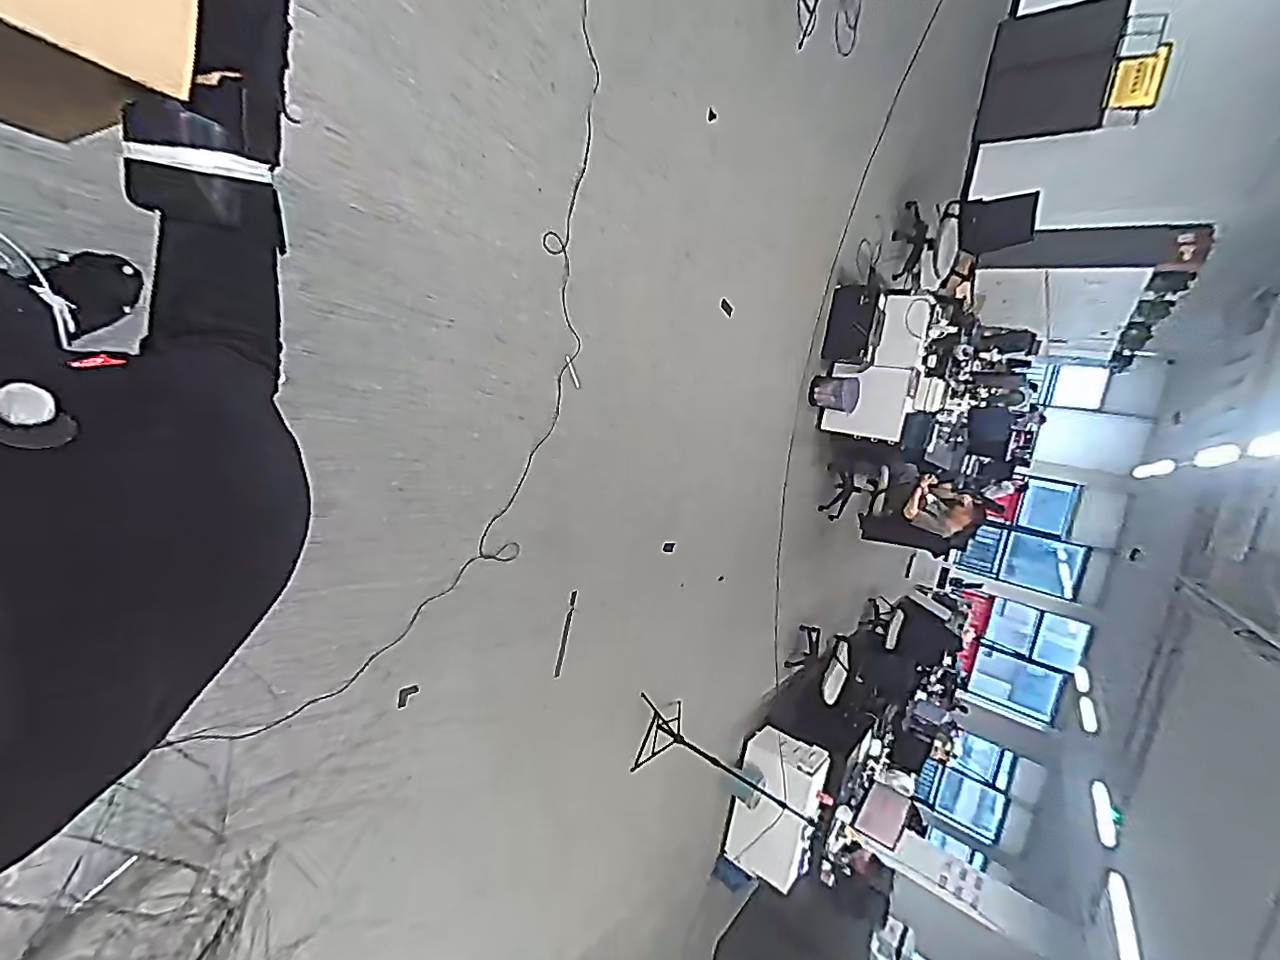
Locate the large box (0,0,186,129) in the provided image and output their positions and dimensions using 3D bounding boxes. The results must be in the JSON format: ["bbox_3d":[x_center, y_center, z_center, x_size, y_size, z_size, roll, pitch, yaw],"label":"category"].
[{"bbox_3d":[-0.494,-0.424,0.232,0.408,0.320,0.320,-2,107,-57],"label":"large box"}]
